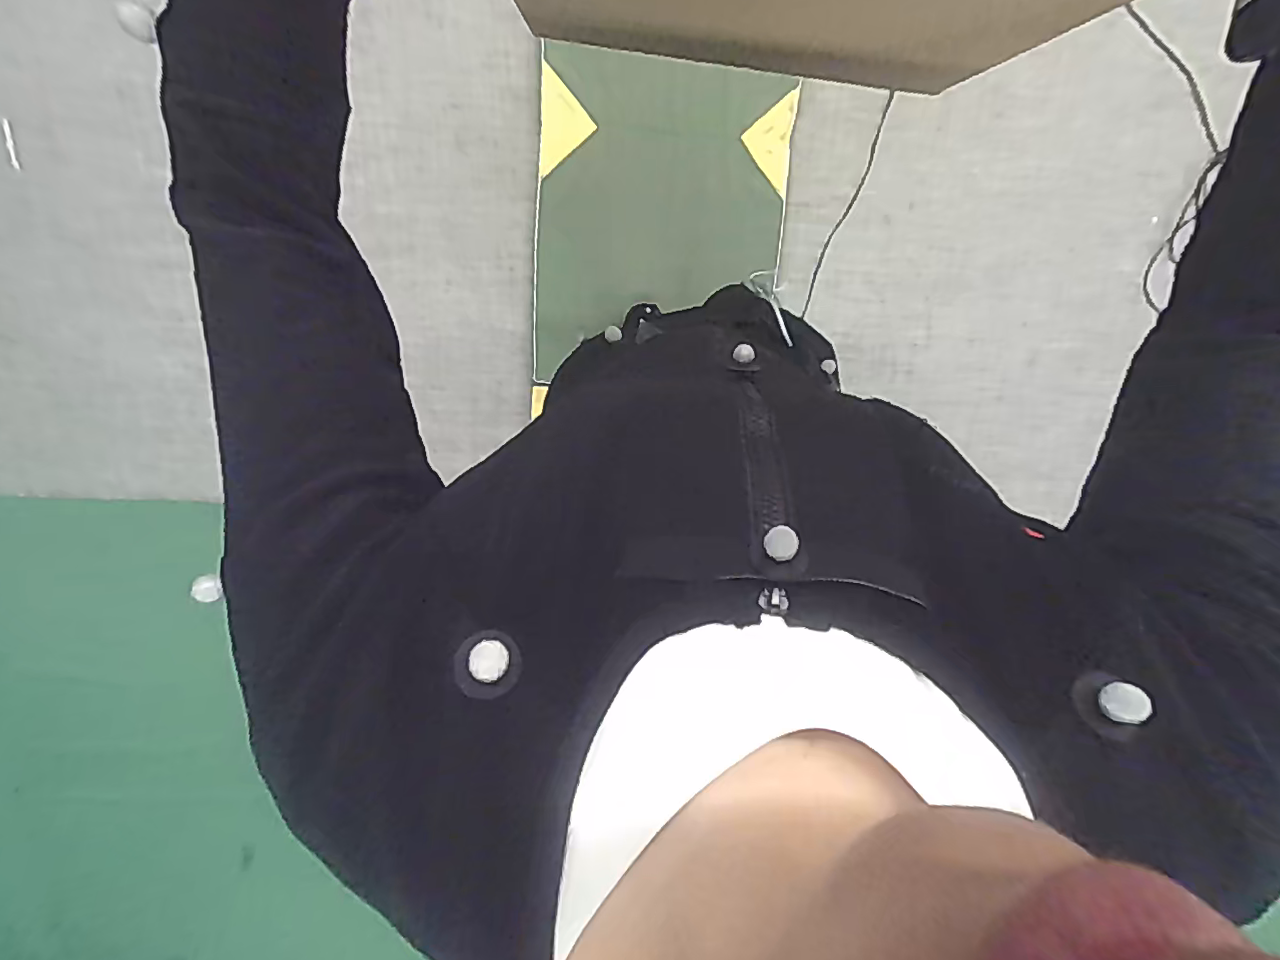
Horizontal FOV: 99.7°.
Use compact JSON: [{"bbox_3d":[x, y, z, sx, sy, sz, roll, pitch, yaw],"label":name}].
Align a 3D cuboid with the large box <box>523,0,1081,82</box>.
[{"bbox_3d":[0.112,-0.487,0.331,0.408,0.320,0.320,5,115,-3],"label":"large box"}]
